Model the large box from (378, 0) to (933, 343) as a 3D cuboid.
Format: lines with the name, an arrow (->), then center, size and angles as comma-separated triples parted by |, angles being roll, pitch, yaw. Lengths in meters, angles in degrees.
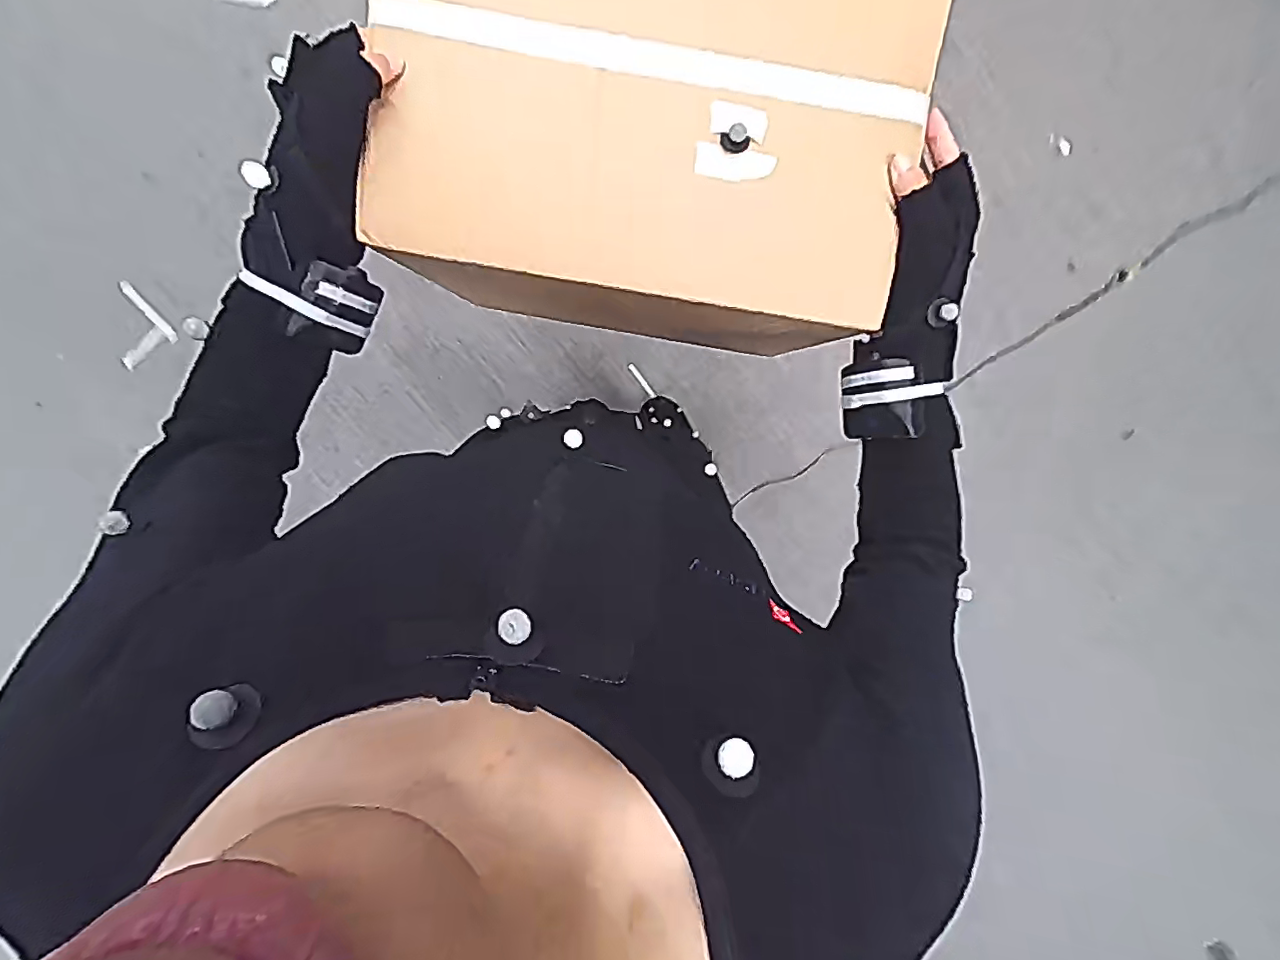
large box -> 0.006, -0.333, 0.549 | 0.408, 0.320, 0.320 | 8, 99, -3
